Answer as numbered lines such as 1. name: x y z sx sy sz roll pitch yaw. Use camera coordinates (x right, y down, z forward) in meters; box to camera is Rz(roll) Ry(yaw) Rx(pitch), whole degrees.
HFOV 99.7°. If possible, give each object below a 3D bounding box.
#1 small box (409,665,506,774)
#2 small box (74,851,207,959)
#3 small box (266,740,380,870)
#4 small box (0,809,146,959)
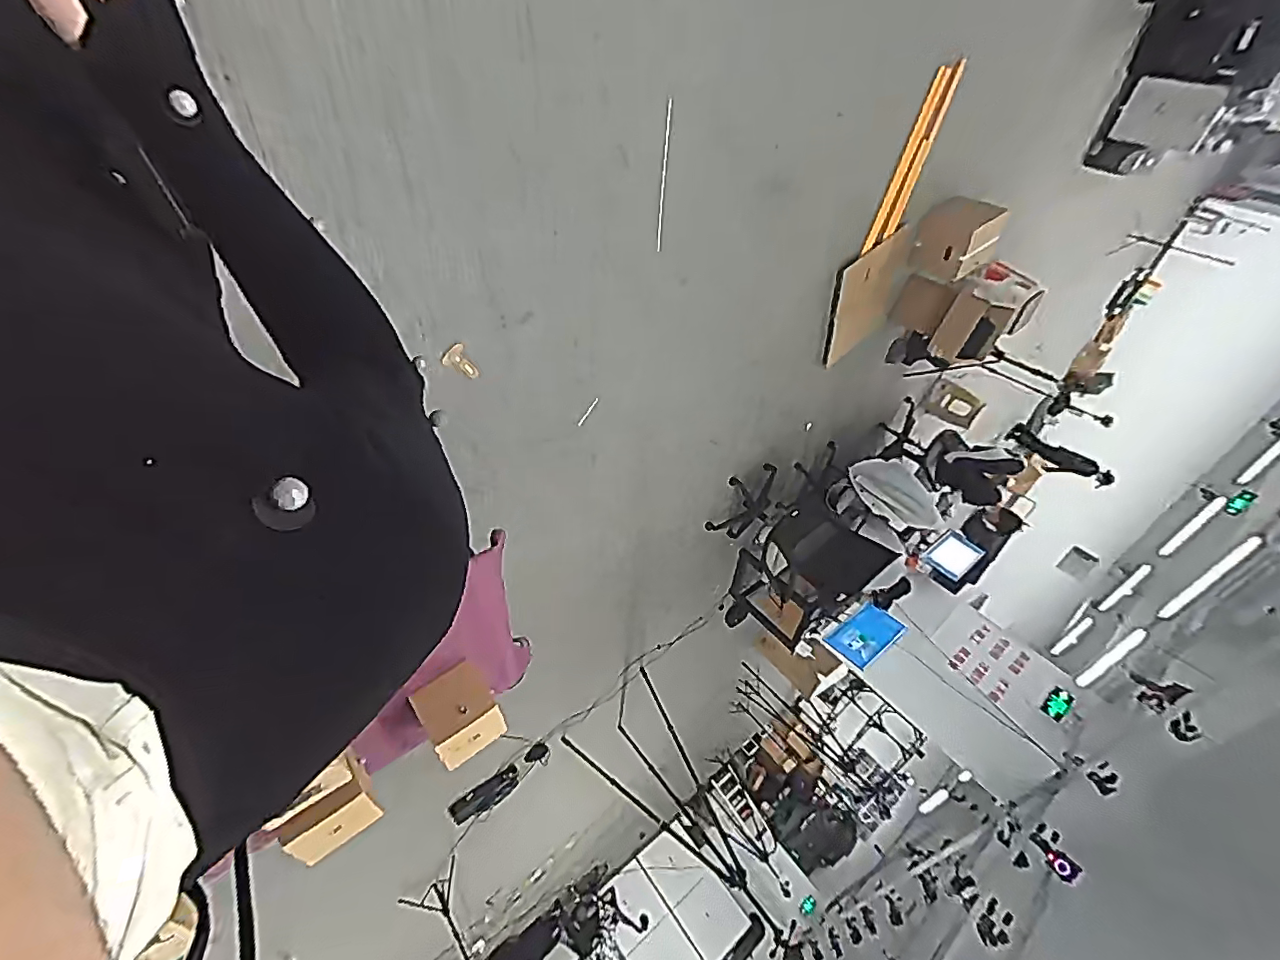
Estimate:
1. small box: -0.483 0.628 1.436 0.179 0.176 0.168 -28 141 -27
2. small box: -1.027 0.898 1.093 0.168 0.176 0.179 -26 142 -30
3. small box: -0.748 0.759 1.272 0.179 0.176 0.168 -28 142 -29
4. small box: -1.007 0.712 0.927 0.179 0.176 0.168 -26 141 -32
